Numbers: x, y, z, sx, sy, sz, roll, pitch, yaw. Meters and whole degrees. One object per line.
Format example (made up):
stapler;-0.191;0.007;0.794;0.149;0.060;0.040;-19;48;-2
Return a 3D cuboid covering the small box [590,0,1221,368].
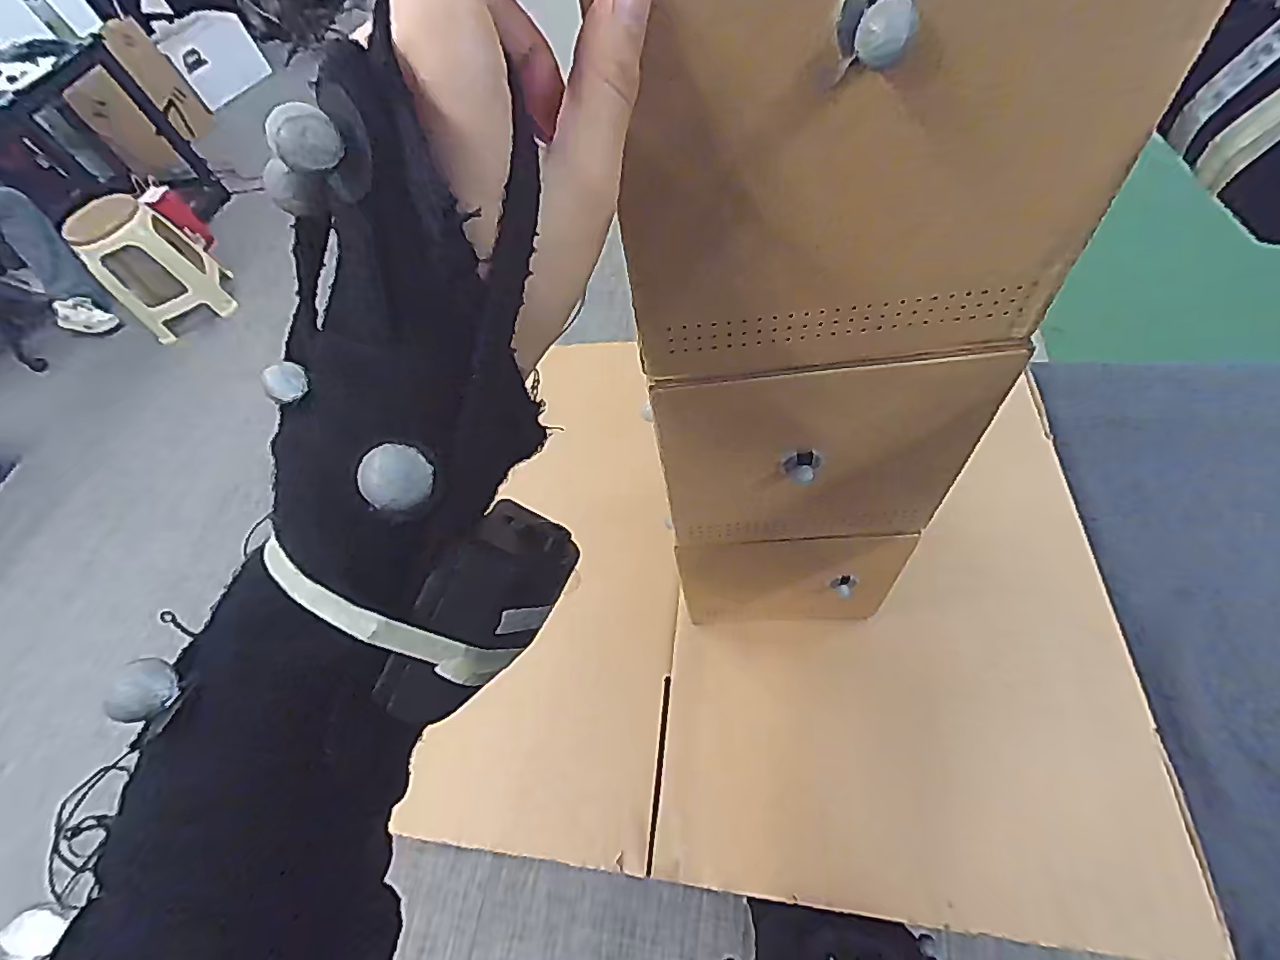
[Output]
small box;0.079;-0.168;0.227;0.179;0.176;0.168;-6;56;6

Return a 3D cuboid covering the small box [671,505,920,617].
small box;0.121;0.018;0.492;0.179;0.176;0.168;-5;56;7

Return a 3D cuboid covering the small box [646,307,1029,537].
small box;0.099;-0.074;0.358;0.179;0.176;0.168;-5;56;7
